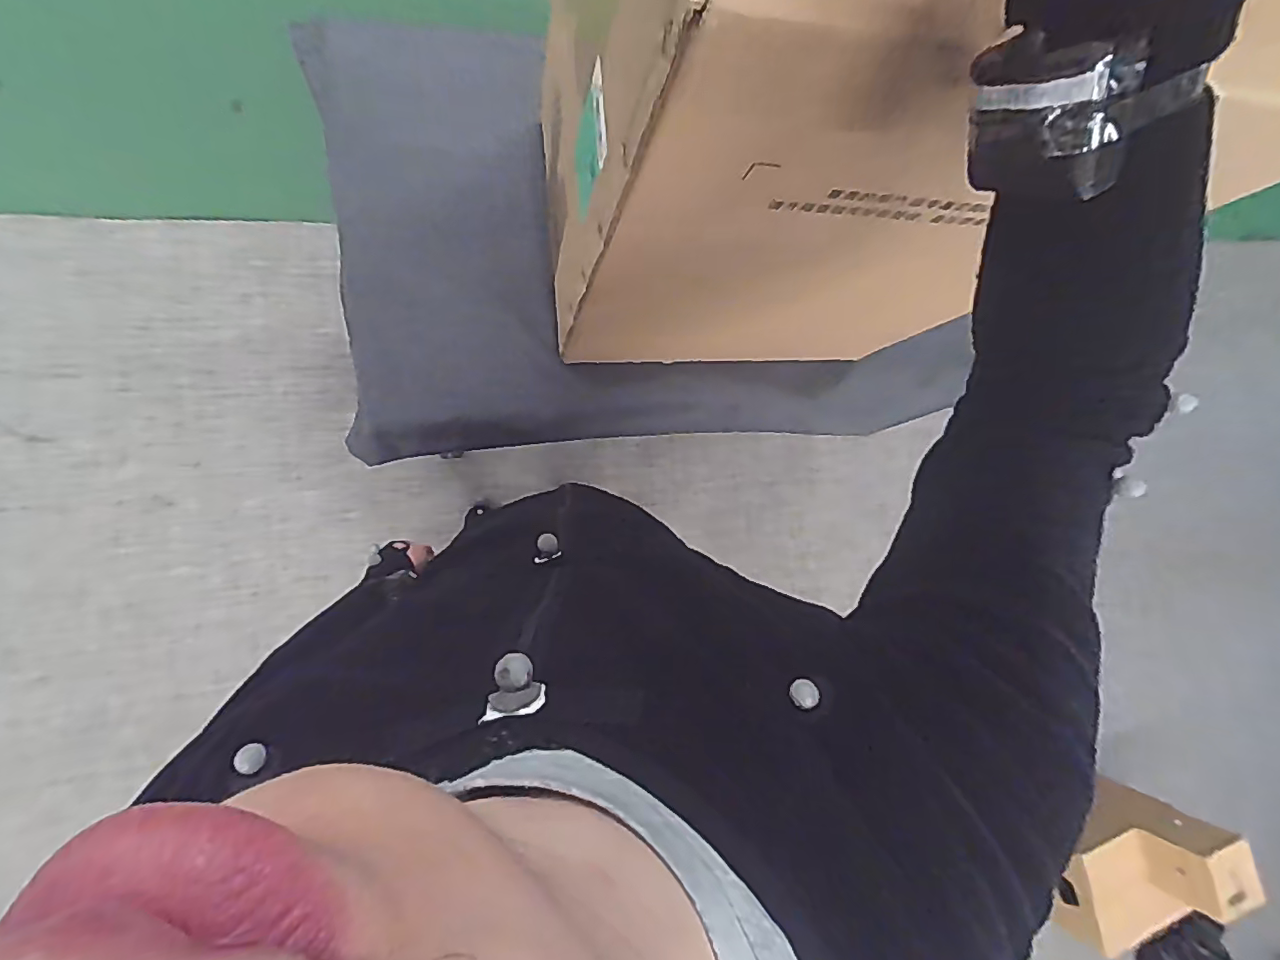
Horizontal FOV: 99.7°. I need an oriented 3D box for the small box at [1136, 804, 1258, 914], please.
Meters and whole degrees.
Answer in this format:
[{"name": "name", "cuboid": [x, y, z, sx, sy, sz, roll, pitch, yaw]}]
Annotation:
[{"name": "small box", "cuboid": [1.603, 1.086, 1.564, 0.168, 0.176, 0.179, -11, 86, -14]}]
